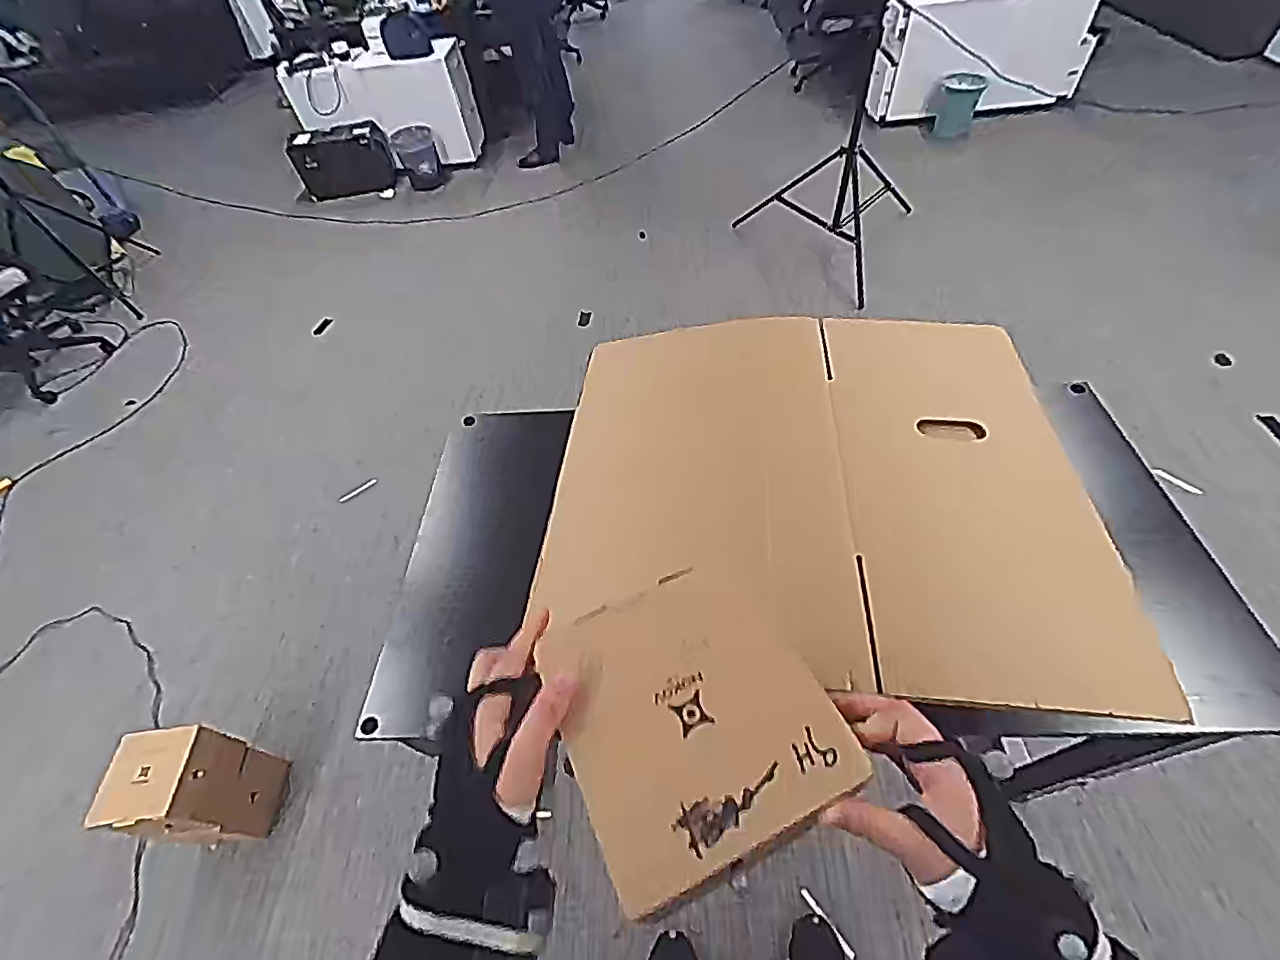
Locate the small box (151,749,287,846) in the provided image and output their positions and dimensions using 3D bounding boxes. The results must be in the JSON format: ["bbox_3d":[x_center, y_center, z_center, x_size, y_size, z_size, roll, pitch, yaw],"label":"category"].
[{"bbox_3d":[-0.994,0.766,1.300,0.168,0.176,0.179,-6,52,2],"label":"small box"}]

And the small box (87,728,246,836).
[{"bbox_3d":[-1.010,0.661,1.176,0.168,0.176,0.179,-8,51,-1],"label":"small box"}]
